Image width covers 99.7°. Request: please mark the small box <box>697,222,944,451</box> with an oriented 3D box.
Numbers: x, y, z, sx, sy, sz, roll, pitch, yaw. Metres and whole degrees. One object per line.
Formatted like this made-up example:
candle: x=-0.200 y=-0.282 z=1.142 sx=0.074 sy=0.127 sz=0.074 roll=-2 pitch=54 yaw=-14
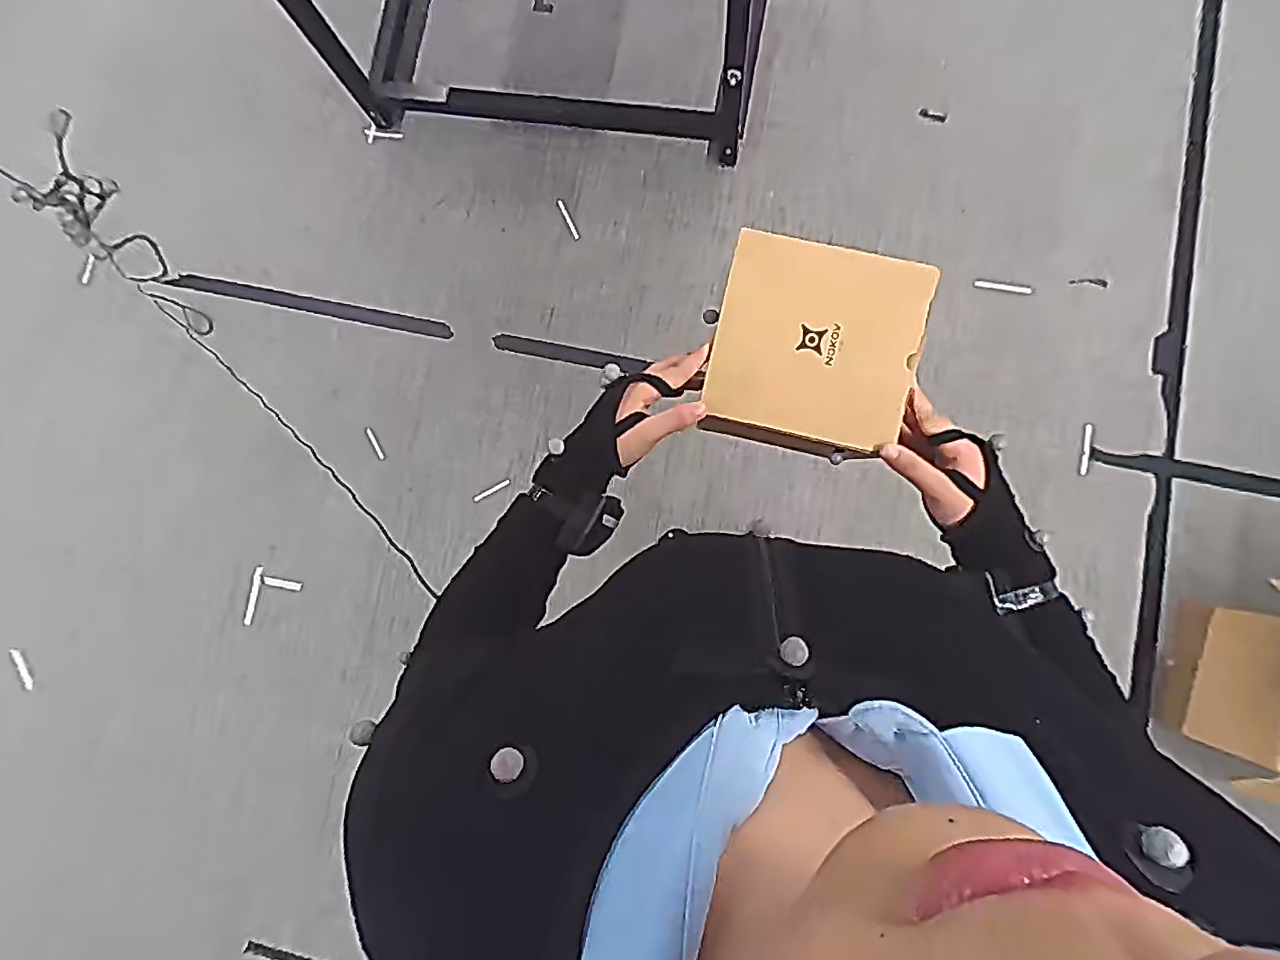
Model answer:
small box: x=0.158 y=-0.125 z=0.539 sx=0.179 sy=0.176 sz=0.168 roll=13 pitch=92 yaw=3
